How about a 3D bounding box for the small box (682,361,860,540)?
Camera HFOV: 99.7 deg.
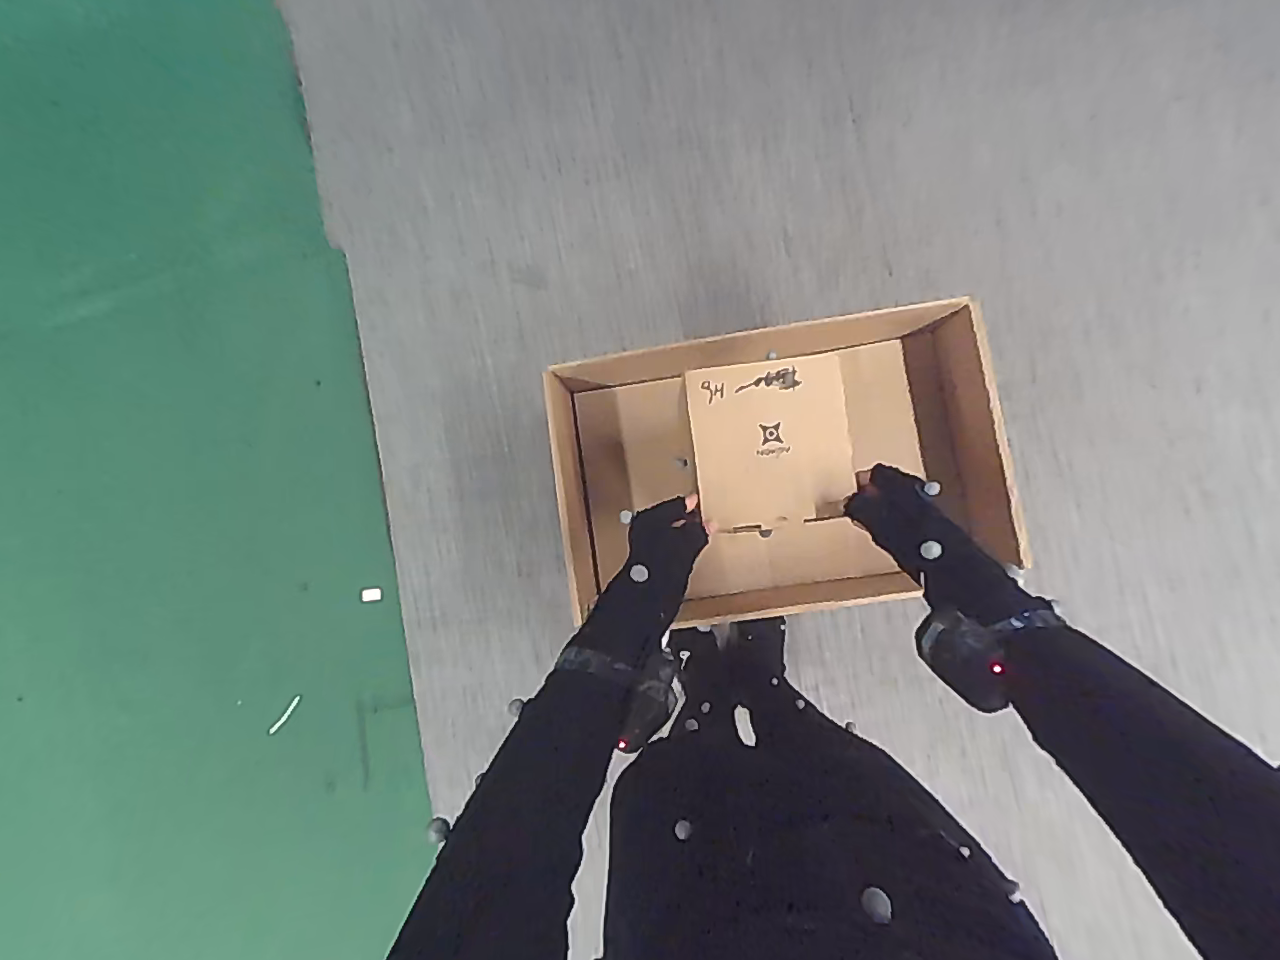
[{"bbox_3d":[0.142,-0.029,0.646,0.168,0.176,0.179,-7,87,1],"label":"small box"}]
